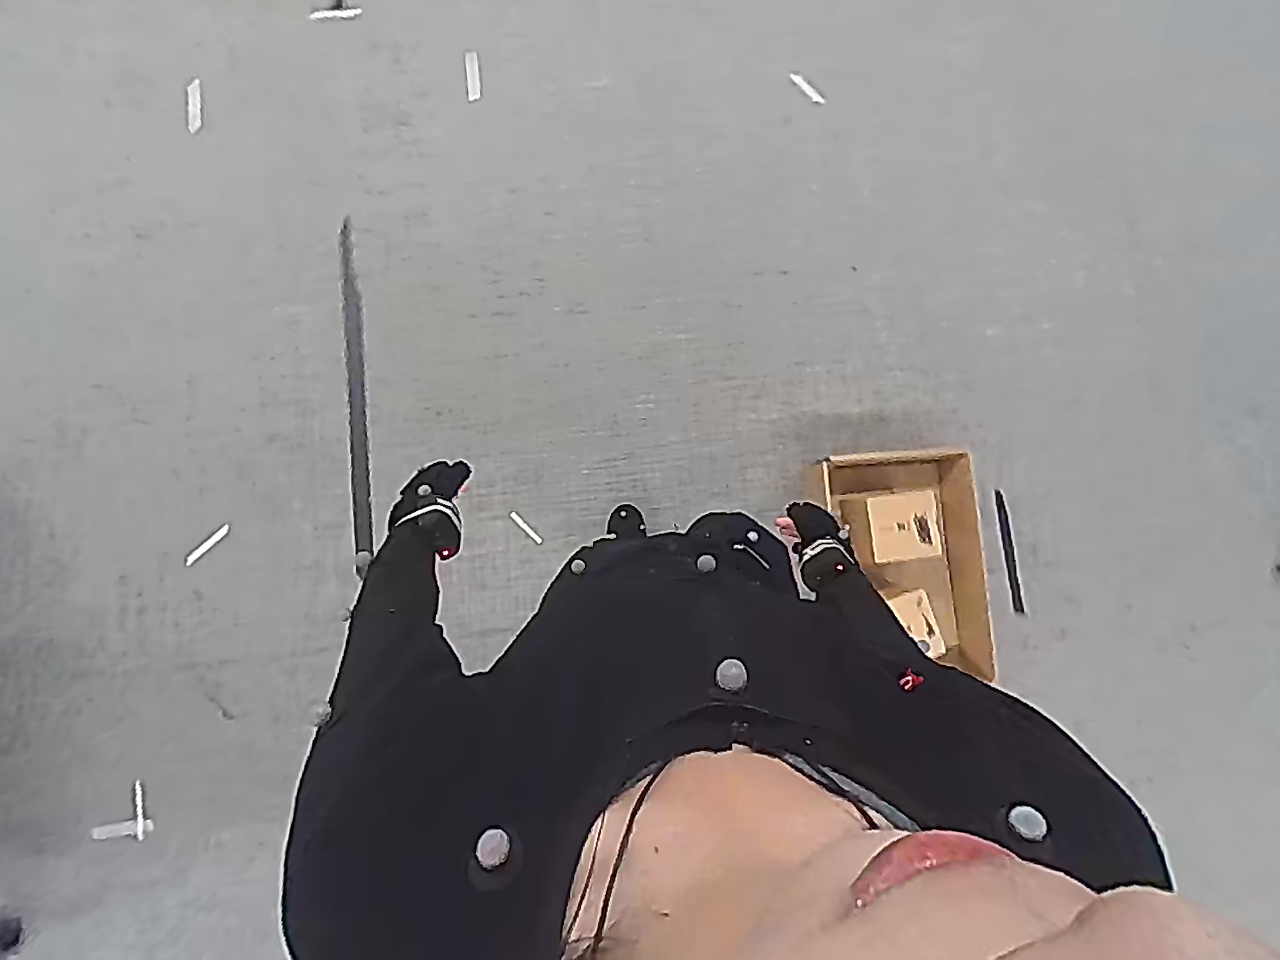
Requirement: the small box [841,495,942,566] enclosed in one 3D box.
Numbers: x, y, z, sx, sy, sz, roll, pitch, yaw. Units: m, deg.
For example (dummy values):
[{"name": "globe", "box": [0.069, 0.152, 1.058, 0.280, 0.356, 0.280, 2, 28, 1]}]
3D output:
[{"name": "small box", "box": [0.660, 0.129, 1.433, 0.179, 0.176, 0.168, -6, 86, -3]}]
